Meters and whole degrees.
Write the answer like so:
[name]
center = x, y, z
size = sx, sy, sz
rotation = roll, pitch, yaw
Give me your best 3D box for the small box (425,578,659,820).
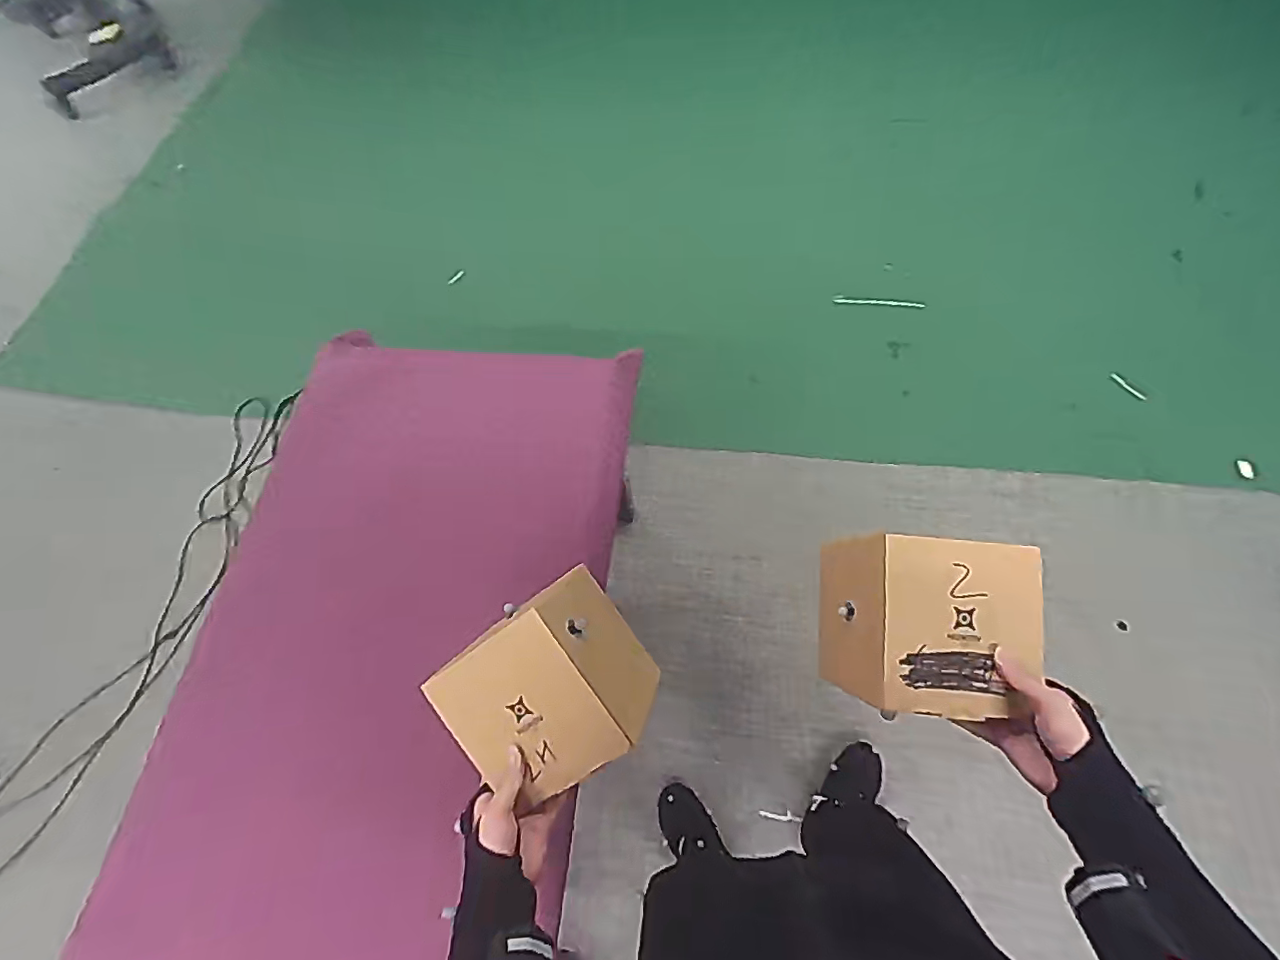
[small box]
center = -0.099, 0.231, 0.623
size = 0.168, 0.176, 0.179
rotation = -35, 88, 13
